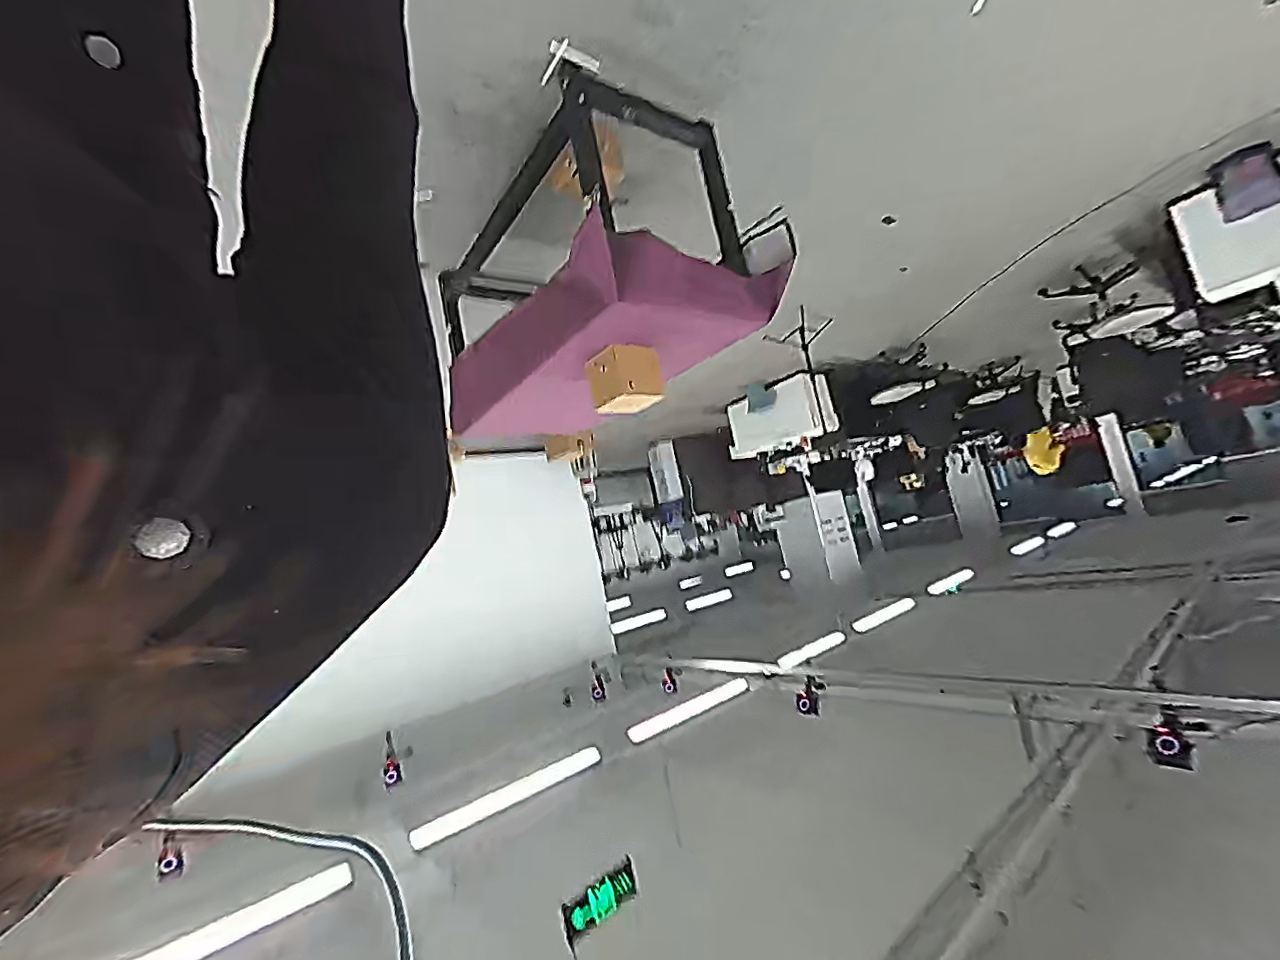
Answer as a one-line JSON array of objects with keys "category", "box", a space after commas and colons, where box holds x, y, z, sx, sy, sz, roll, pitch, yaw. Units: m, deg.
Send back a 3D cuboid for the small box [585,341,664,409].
[{"category": "small box", "box": [-0.053, -0.334, 1.734, 0.179, 0.176, 0.168, -6, 172, -38]}]
